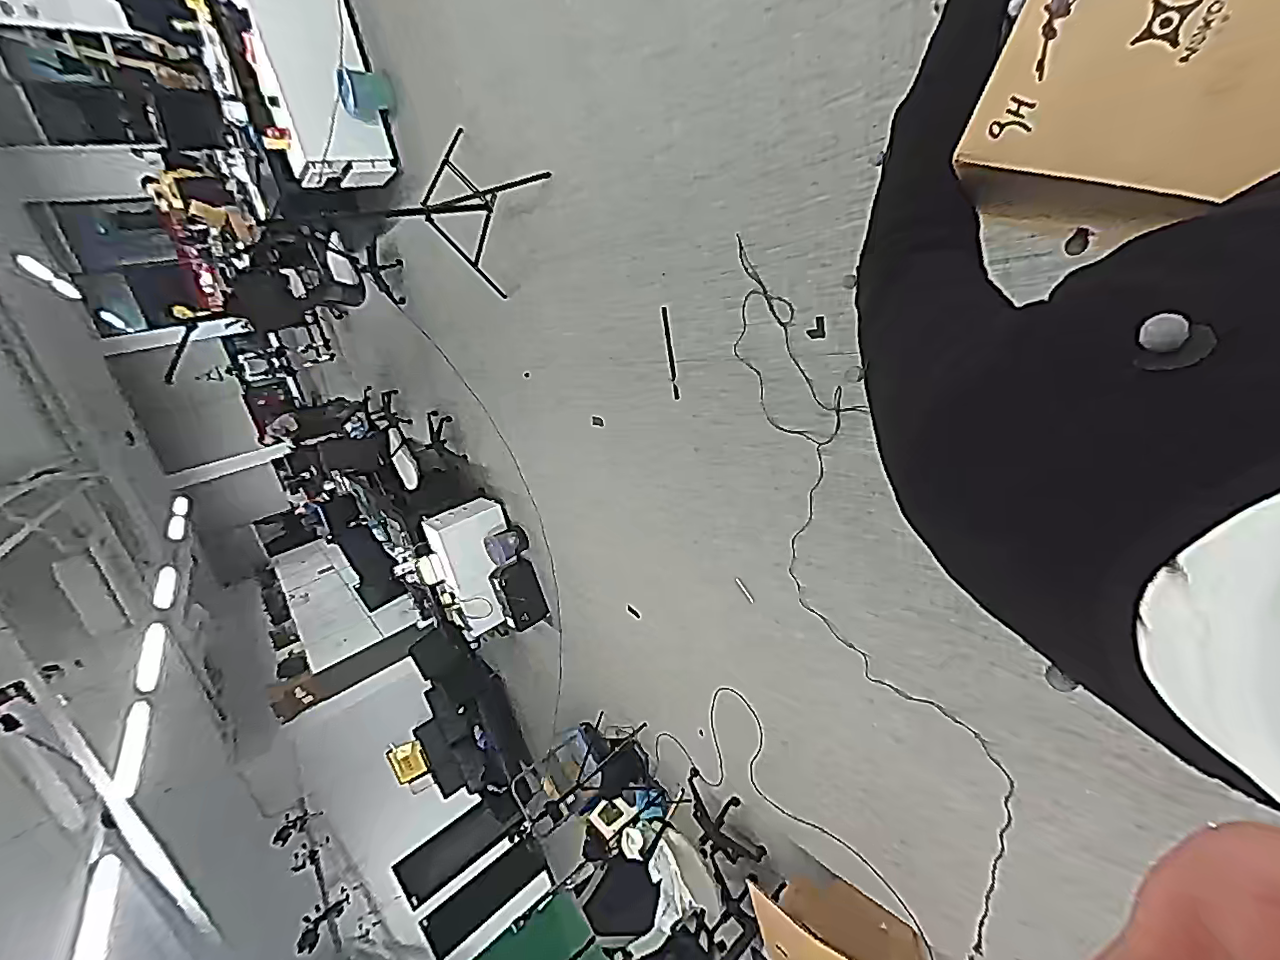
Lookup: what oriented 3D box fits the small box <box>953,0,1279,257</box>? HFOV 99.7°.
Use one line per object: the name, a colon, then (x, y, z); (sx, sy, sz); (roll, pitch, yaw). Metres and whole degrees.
small box: (0.356, -0.268, 0.376); (0.179, 0.176, 0.168); (31, 114, 29)
